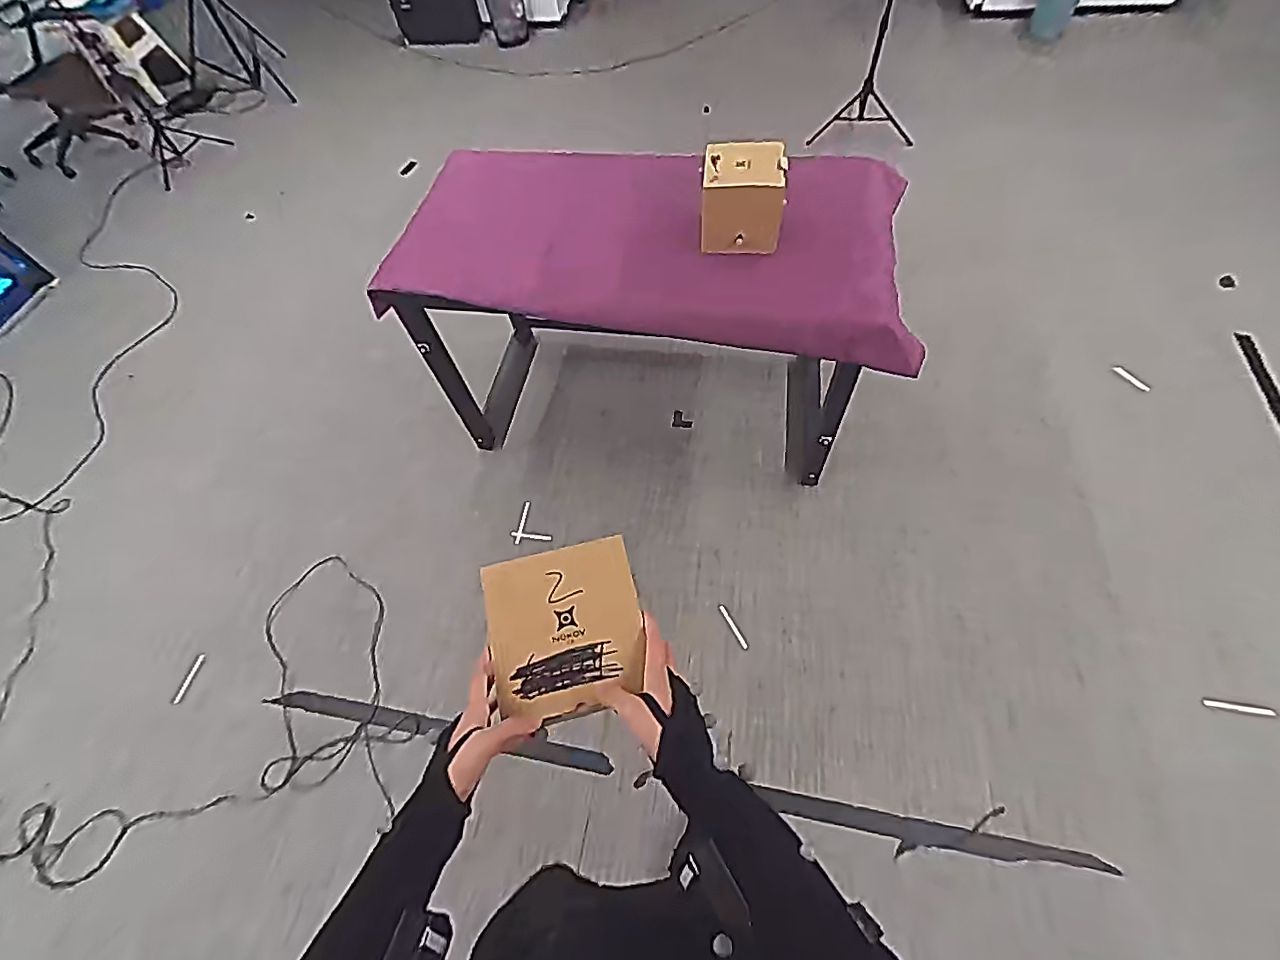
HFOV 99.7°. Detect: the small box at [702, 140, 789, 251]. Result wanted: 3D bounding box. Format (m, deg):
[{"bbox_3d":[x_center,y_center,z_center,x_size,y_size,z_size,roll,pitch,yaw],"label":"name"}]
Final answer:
[{"bbox_3d":[0.239,-0.649,1.244,0.179,0.176,0.168,4,60,7],"label":"small box"}]
